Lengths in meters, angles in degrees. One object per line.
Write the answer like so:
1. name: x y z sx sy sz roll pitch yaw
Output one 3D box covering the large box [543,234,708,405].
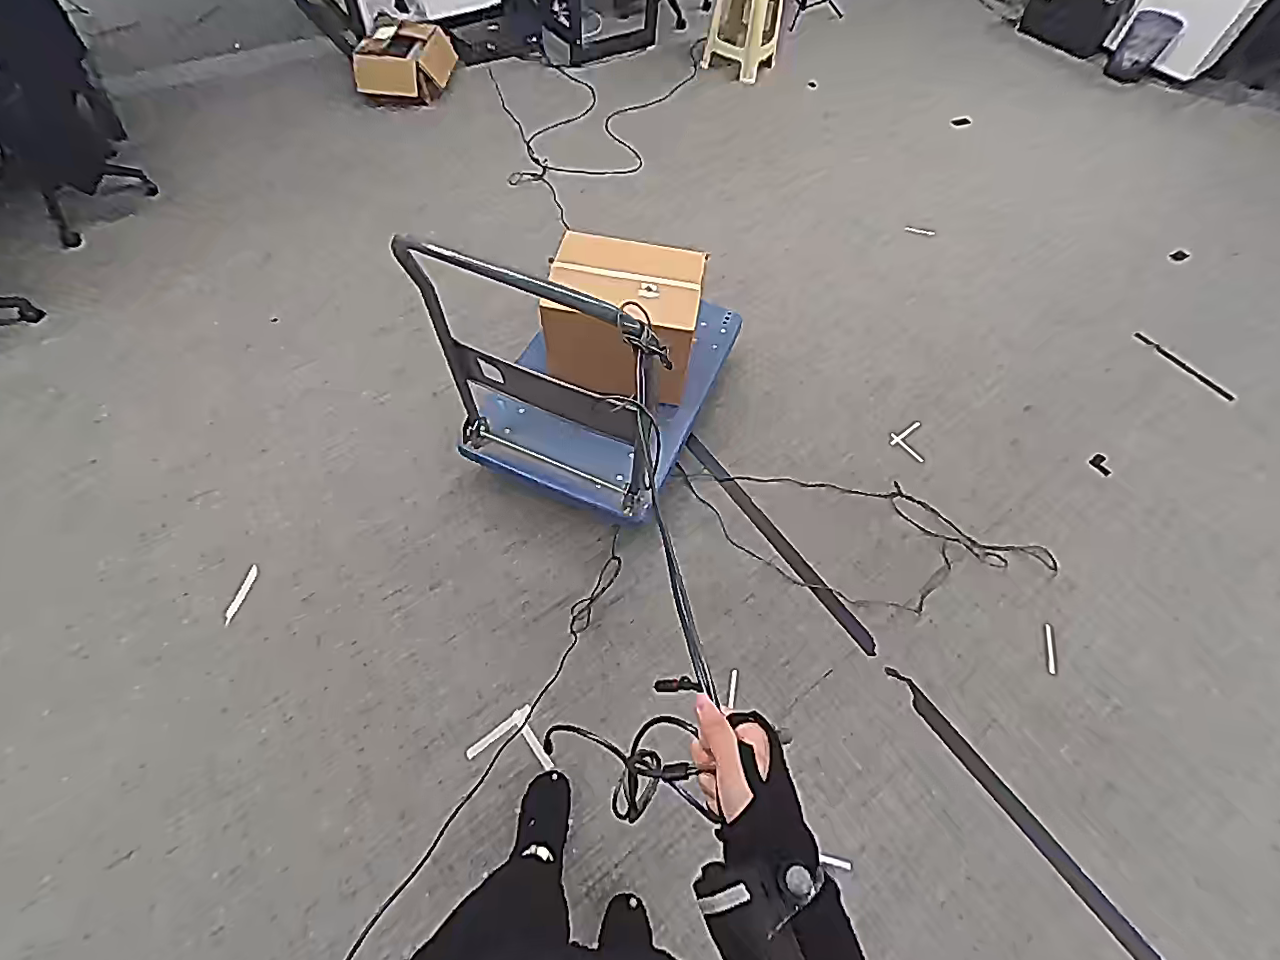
1. large box: -0.042 -0.454 1.559 0.408 0.320 0.320 11 61 1
